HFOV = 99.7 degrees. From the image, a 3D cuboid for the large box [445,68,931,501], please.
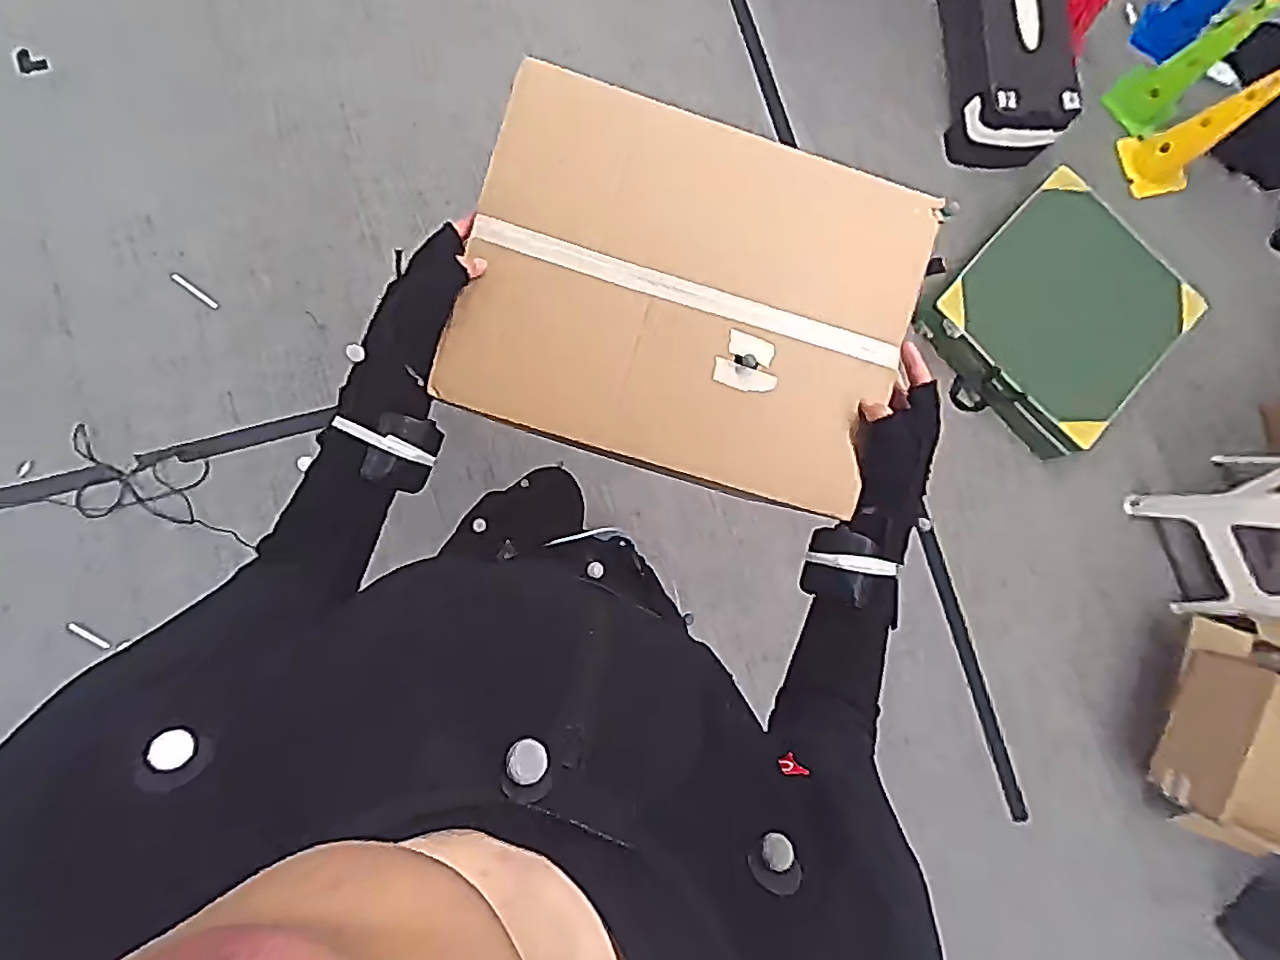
[{"bbox_3d":[0.038,-0.181,0.652,0.408,0.320,0.320,17,91,-4],"label":"large box"}]
